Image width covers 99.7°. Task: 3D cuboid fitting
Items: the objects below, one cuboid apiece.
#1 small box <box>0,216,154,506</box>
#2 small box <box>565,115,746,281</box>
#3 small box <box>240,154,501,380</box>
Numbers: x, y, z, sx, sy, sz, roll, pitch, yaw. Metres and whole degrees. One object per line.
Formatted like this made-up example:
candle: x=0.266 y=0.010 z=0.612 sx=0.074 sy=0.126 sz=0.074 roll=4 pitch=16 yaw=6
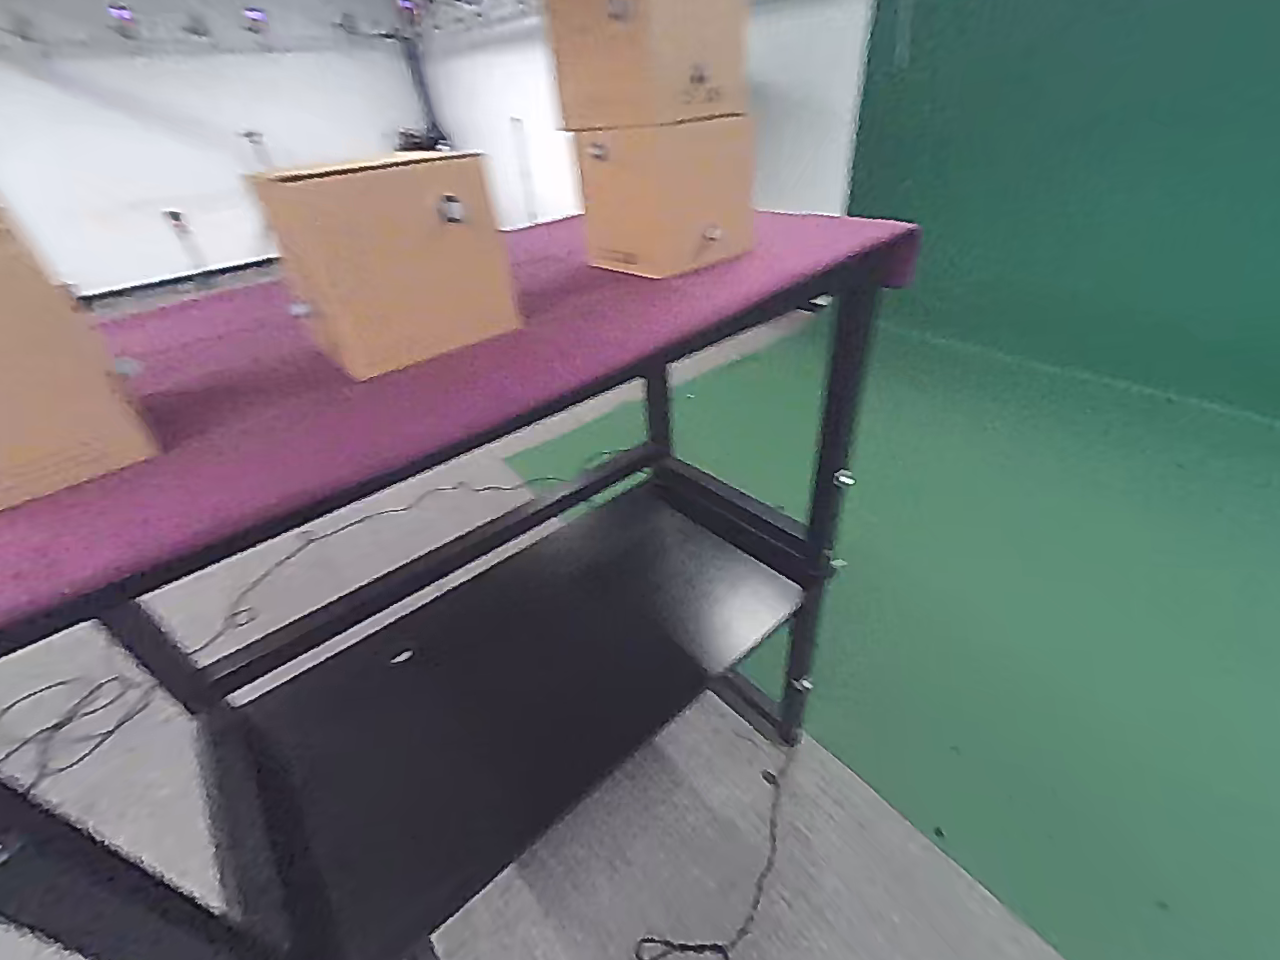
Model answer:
small box: x=-0.501 y=-0.075 z=0.380 sx=0.179 sy=0.176 sz=0.168 roll=-31 pitch=43 yaw=-32
small box: x=0.024 y=-0.385 z=0.734 sx=0.179 sy=0.176 sz=0.168 roll=-30 pitch=40 yaw=-30
small box: x=-0.259 y=-0.223 z=0.551 sx=0.179 sy=0.176 sz=0.168 roll=-30 pitch=41 yaw=-29
